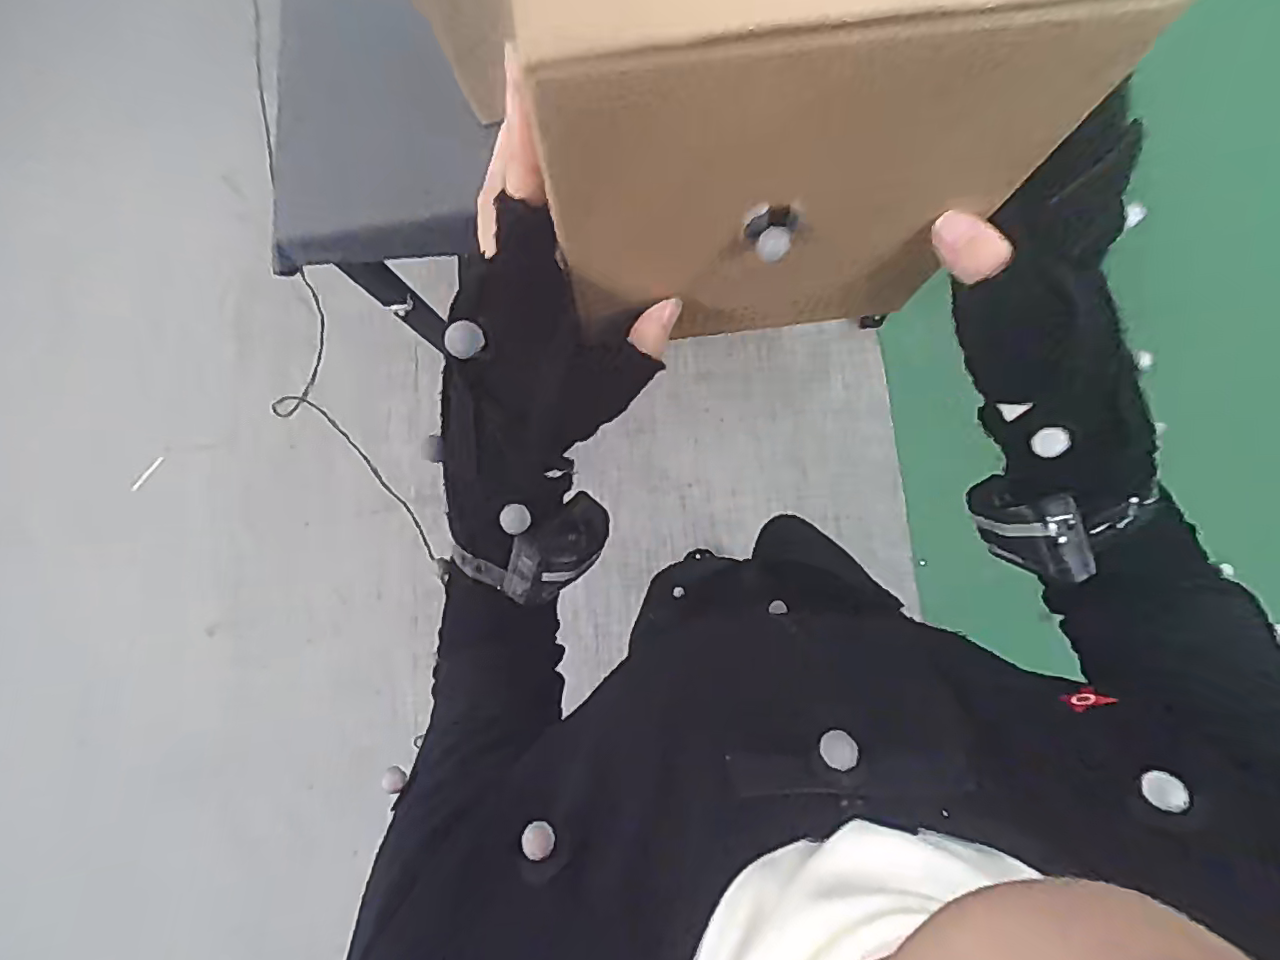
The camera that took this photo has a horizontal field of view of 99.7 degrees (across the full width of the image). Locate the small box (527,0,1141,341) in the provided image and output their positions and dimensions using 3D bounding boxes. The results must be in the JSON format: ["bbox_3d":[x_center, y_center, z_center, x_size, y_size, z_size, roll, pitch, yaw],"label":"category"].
[{"bbox_3d":[0.045,-0.180,0.243,0.179,0.176,0.168,-8,78,-2],"label":"small box"}]
